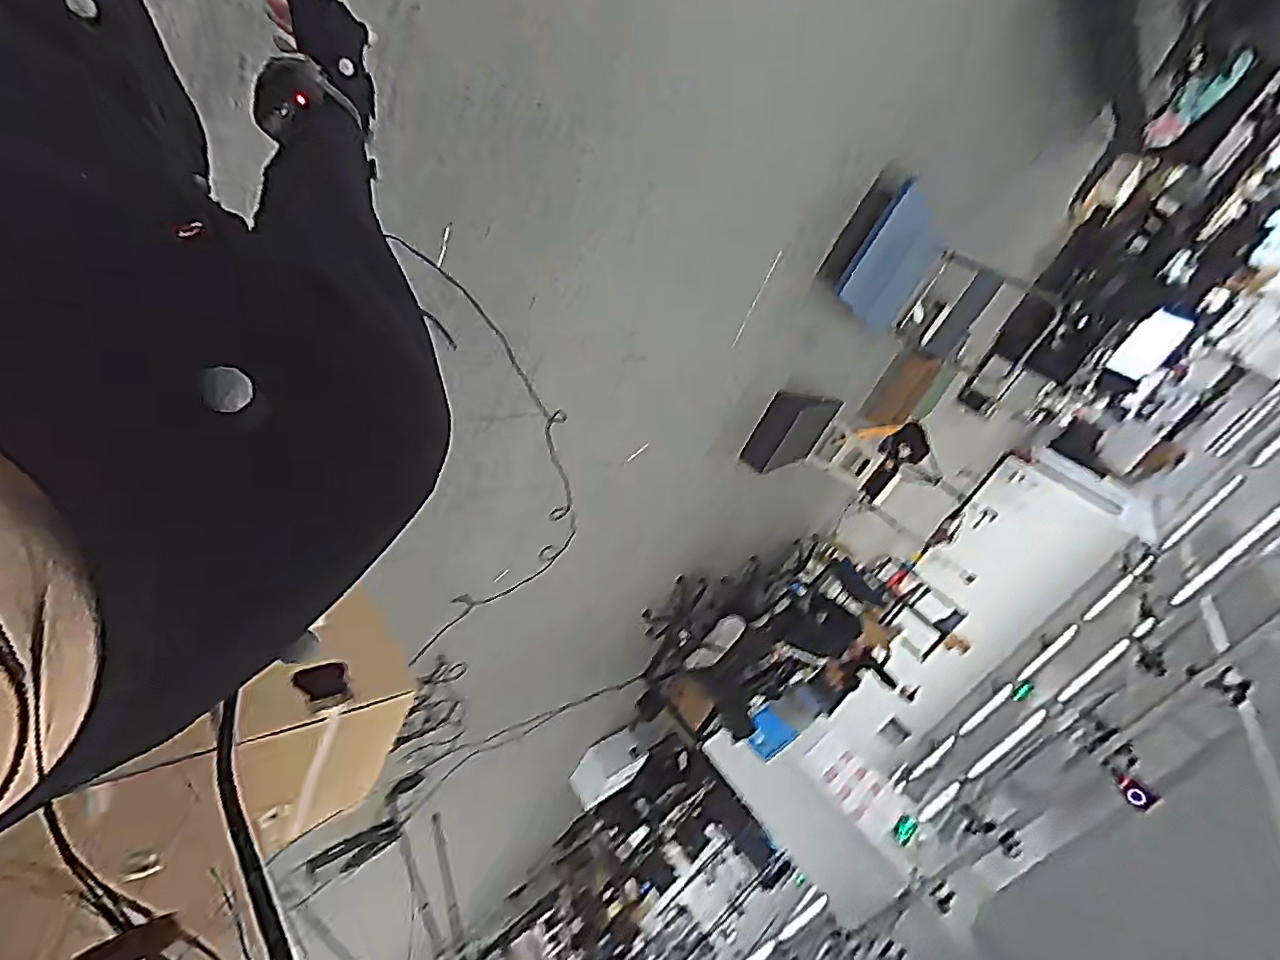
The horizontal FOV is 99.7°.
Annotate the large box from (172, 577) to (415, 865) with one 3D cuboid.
[{"bbox_3d":[-0.718,0.463,1.106,0.320,0.320,0.408,0,127,-49],"label":"large box"}]
